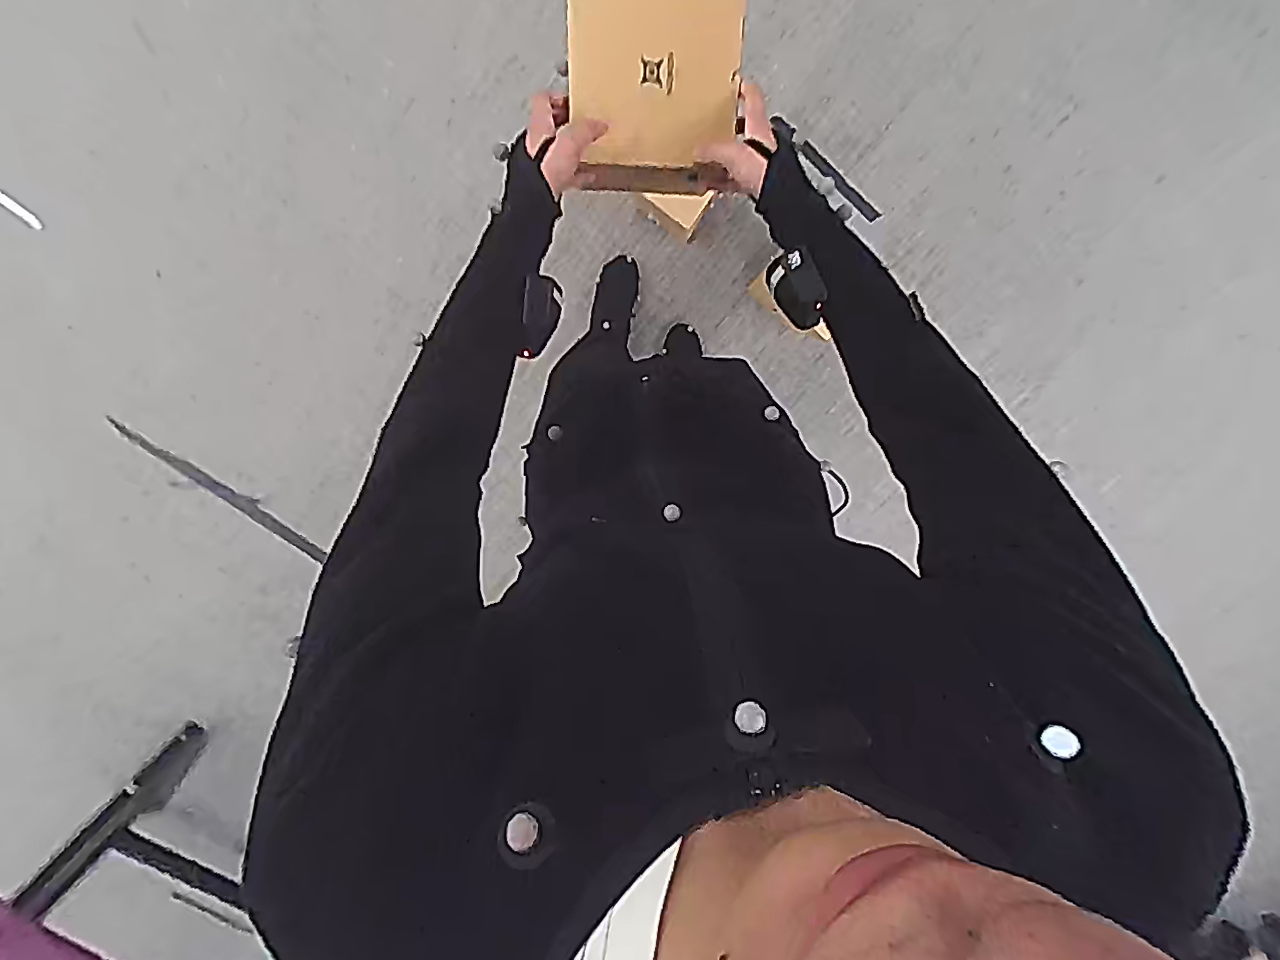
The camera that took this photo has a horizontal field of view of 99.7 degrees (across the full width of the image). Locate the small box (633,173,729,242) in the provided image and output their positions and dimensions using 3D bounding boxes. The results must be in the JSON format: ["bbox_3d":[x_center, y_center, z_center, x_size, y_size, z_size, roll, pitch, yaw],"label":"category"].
[{"bbox_3d":[0.091,-0.717,1.334,0.168,0.176,0.179,33,107,-11],"label":"small box"}]

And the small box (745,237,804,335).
[{"bbox_3d":[0.398,-0.502,1.411,0.179,0.176,0.168,40,106,-13],"label":"small box"}]

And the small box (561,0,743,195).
[{"bbox_3d":[0.004,-0.428,0.608,0.179,0.176,0.168,-1,109,-6],"label":"small box"}]

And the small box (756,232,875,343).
[{"bbox_3d":[0.399,-0.447,1.256,0.179,0.176,0.168,41,104,-14],"label":"small box"}]

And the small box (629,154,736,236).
[{"bbox_3d":[0.082,-0.662,1.179,0.168,0.176,0.179,35,107,-11],"label":"small box"}]
